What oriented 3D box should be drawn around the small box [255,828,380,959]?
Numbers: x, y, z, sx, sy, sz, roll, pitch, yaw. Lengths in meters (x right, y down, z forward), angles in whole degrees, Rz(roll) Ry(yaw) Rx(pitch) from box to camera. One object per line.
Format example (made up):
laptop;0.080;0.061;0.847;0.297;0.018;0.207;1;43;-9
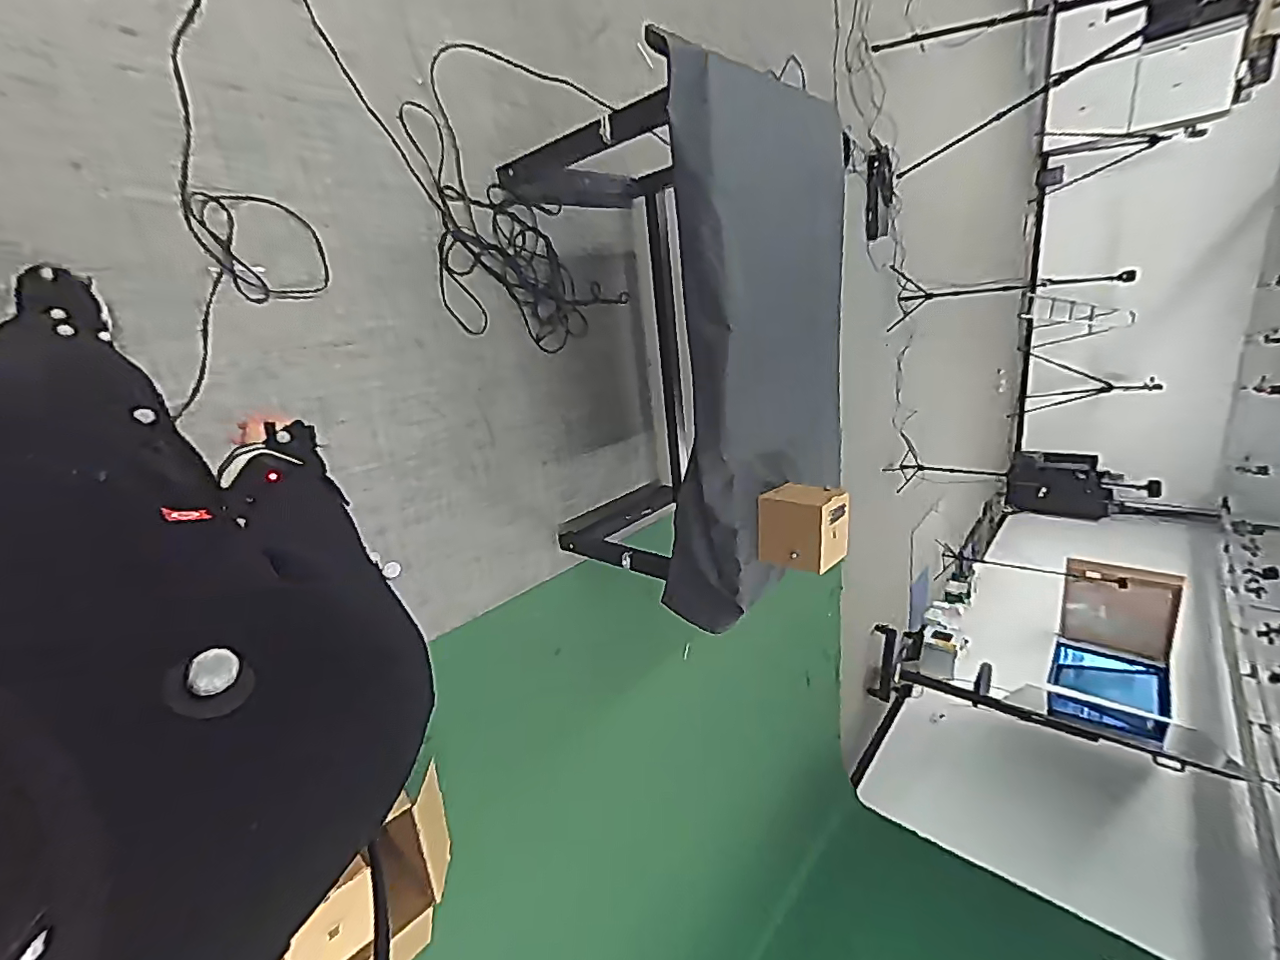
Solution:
small box;-0.665;0.878;1.117;0.168;0.176;0.179;-19;111;-45
